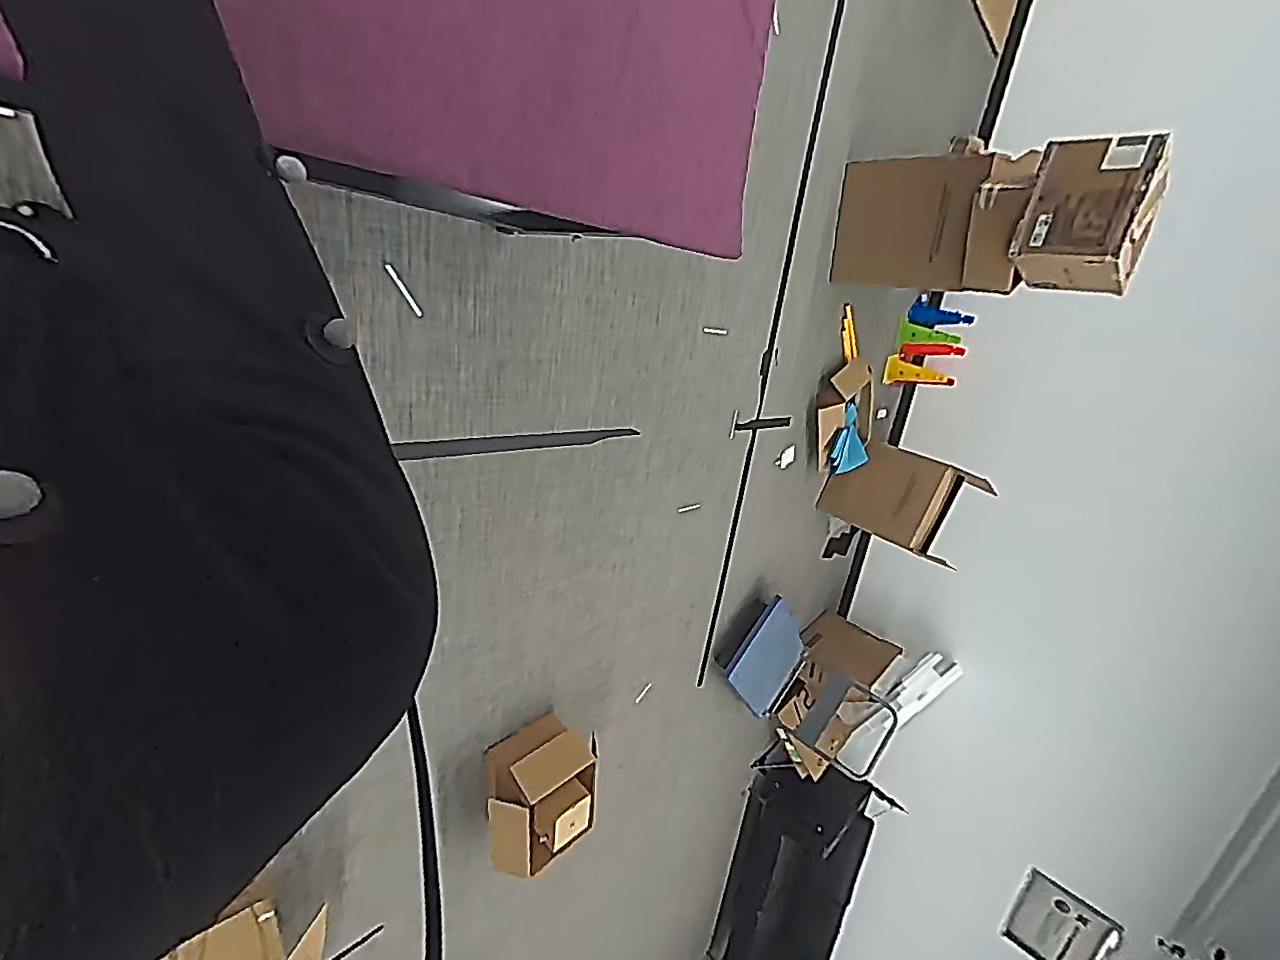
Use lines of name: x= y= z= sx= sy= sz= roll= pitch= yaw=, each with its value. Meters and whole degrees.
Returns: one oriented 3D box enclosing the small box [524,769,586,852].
small box: x=-0.329 y=1.256 z=2.068 sx=0.168 sy=0.176 sz=0.179 roll=-13 pitch=117 yaw=-45
